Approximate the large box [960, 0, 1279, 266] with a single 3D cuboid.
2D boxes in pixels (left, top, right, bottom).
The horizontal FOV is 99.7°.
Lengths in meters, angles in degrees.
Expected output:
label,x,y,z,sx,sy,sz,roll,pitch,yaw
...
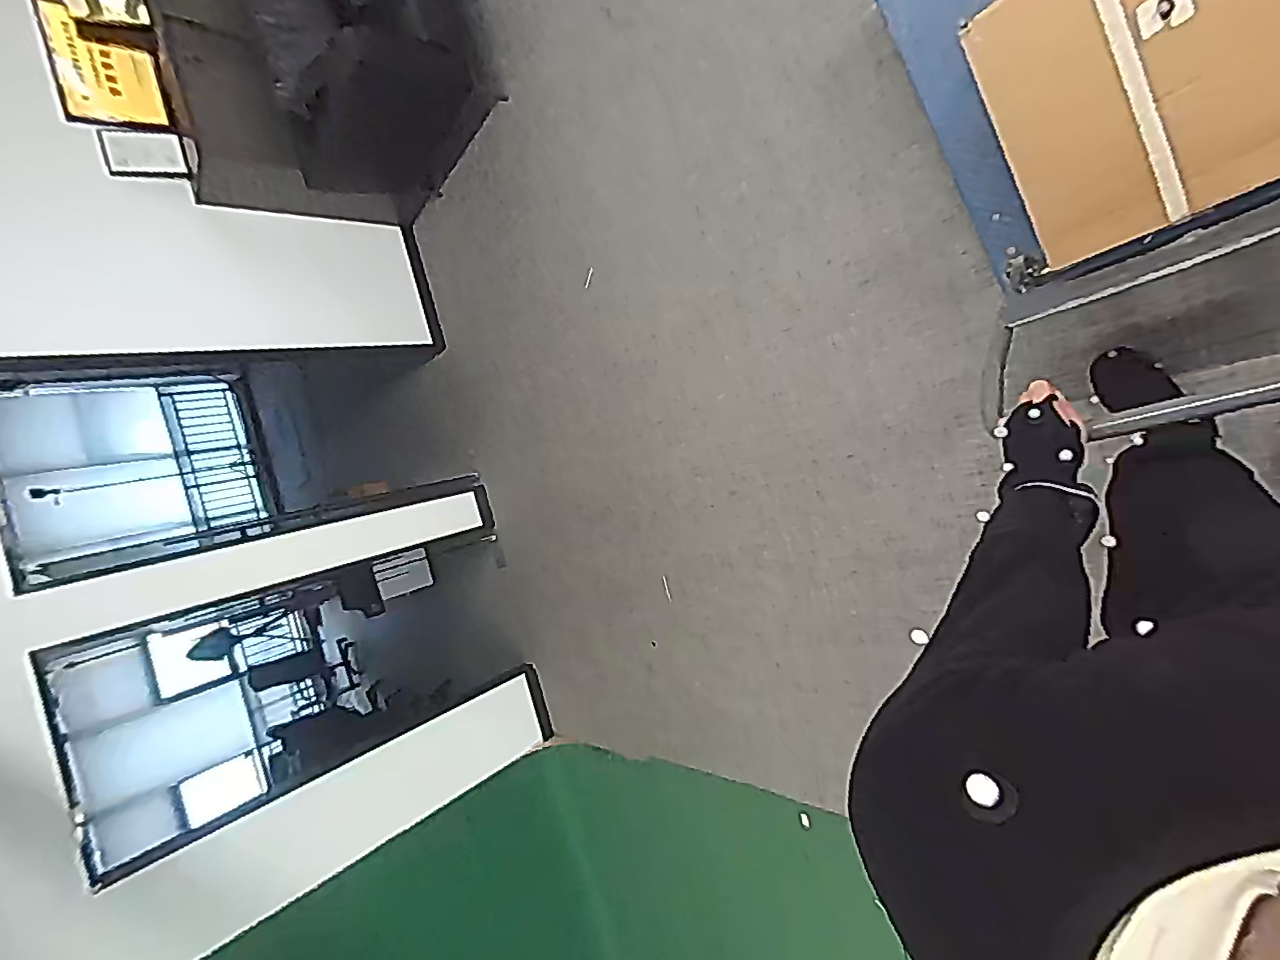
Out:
label,x,y,z,sx,sy,sz,roll,pitch,yaw
large box,0.773,-0.623,0.842,0.320,0.320,0.408,-19,107,48
